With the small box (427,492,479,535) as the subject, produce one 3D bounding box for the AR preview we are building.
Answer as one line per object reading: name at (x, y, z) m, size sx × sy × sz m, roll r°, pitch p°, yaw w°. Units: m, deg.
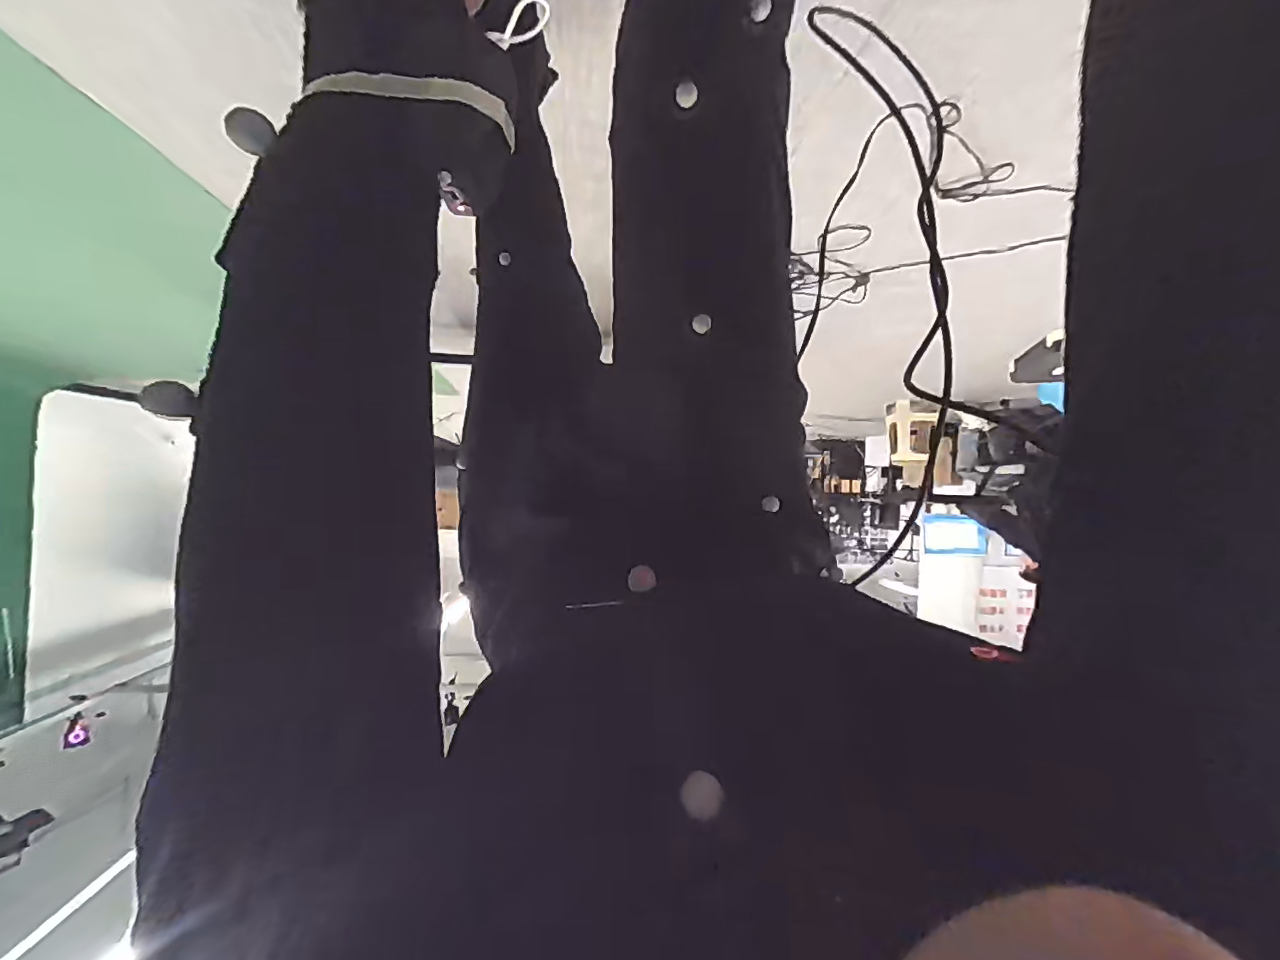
small box at (-0.773, 0.135, 2.239) m, size 0.168 × 0.176 × 0.179 m, roll 3°, pitch 180°, yaw -3°
